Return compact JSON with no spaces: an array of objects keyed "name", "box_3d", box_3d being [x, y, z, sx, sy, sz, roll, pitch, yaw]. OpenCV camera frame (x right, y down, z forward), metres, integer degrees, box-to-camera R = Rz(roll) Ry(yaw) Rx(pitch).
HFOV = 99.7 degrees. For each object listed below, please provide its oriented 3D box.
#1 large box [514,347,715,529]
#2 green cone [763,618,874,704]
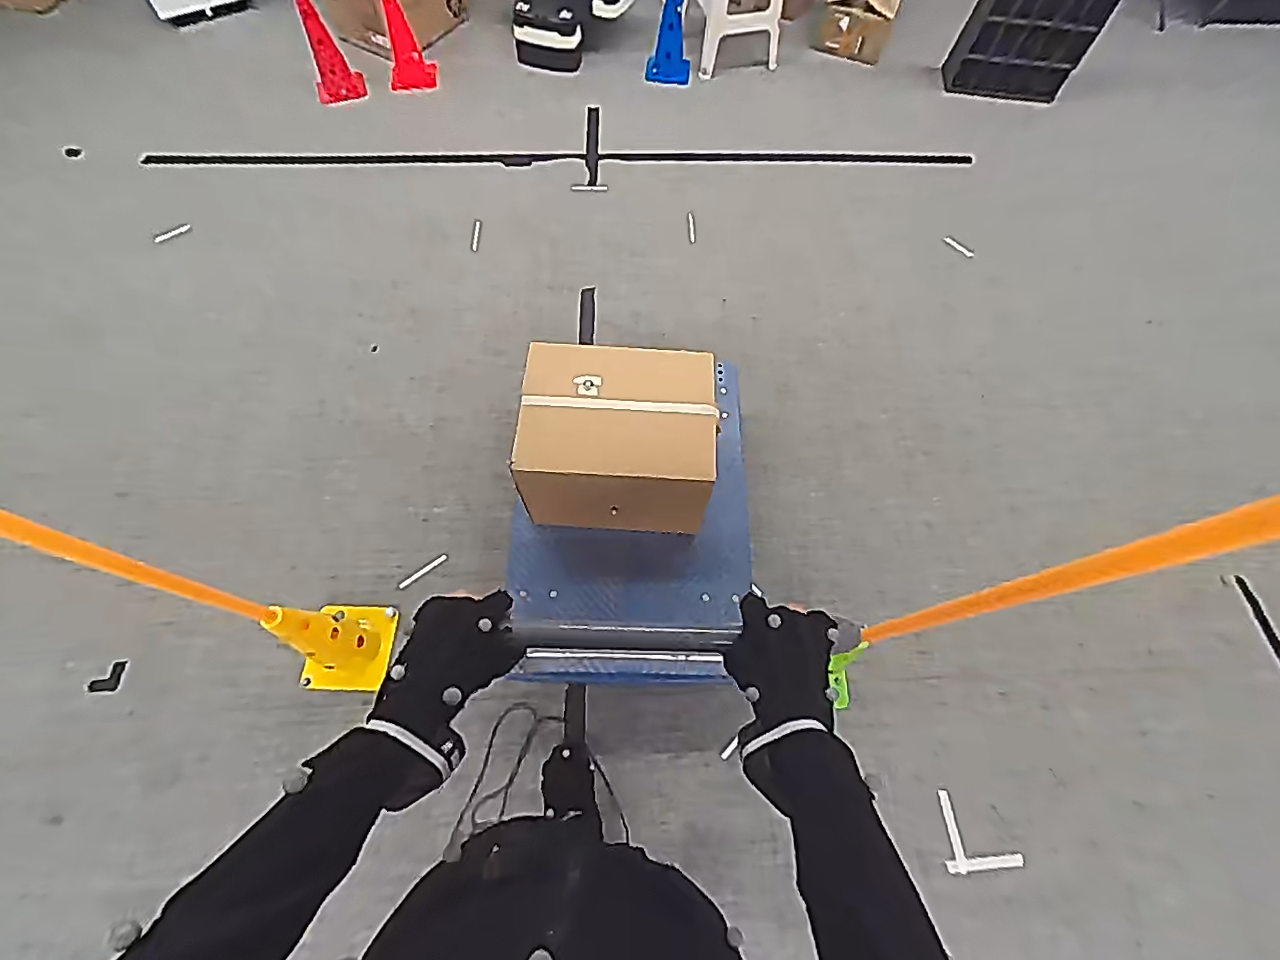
[{"name":"large box","box_3d":[-0.045,-0.083,1.257,0.408,0.320,0.320,3,65,0]},{"name":"green cone","box_3d":[0.422,0.379,1.208,0.202,0.368,0.200,4,64,-2]}]
